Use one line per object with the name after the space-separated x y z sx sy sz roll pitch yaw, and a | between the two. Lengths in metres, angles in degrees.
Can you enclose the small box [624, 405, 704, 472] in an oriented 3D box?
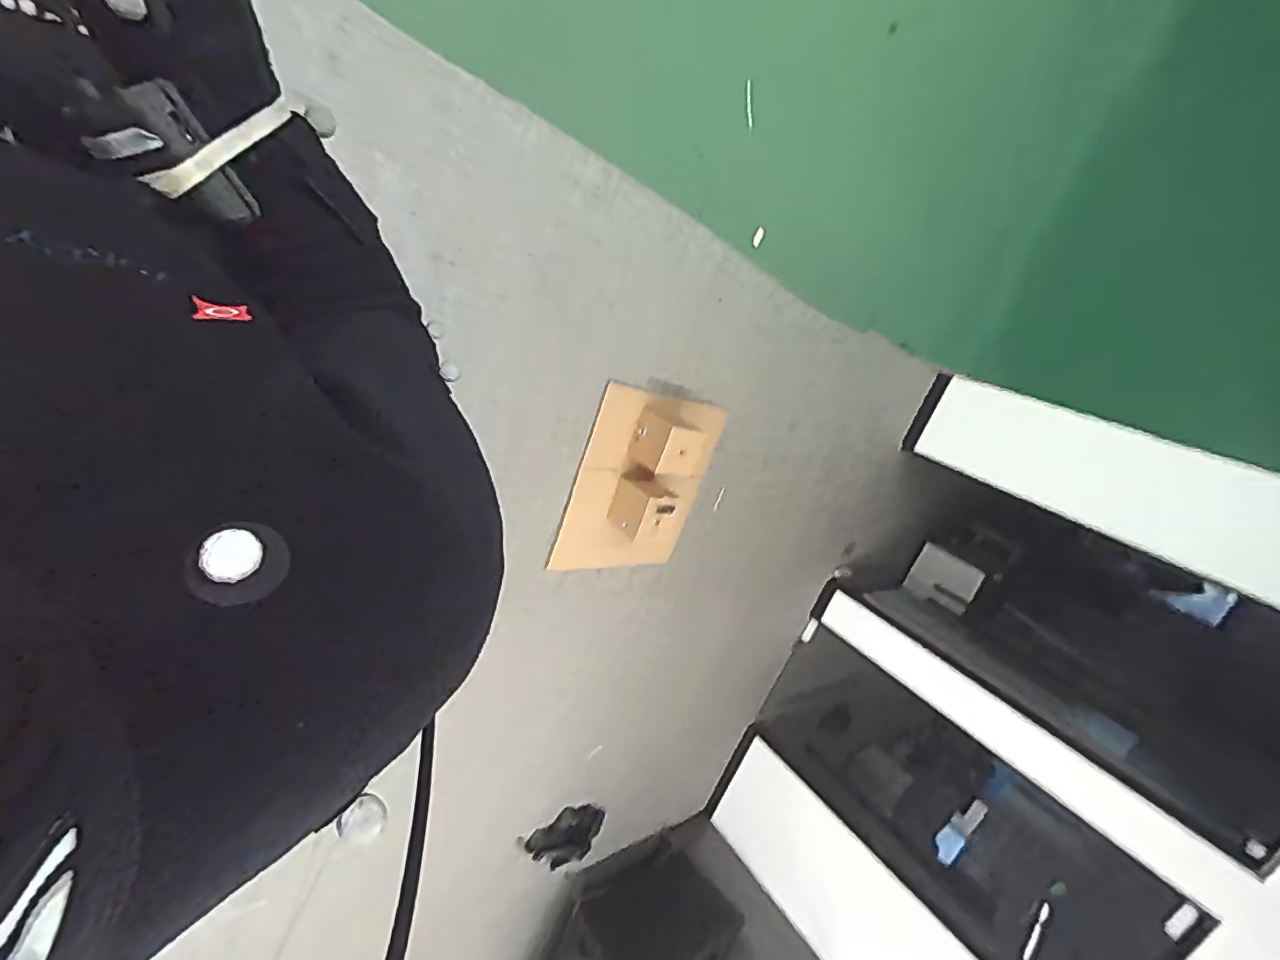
0.080 -0.142 1.834 0.179 0.176 0.168 6 112 -43 | small box
